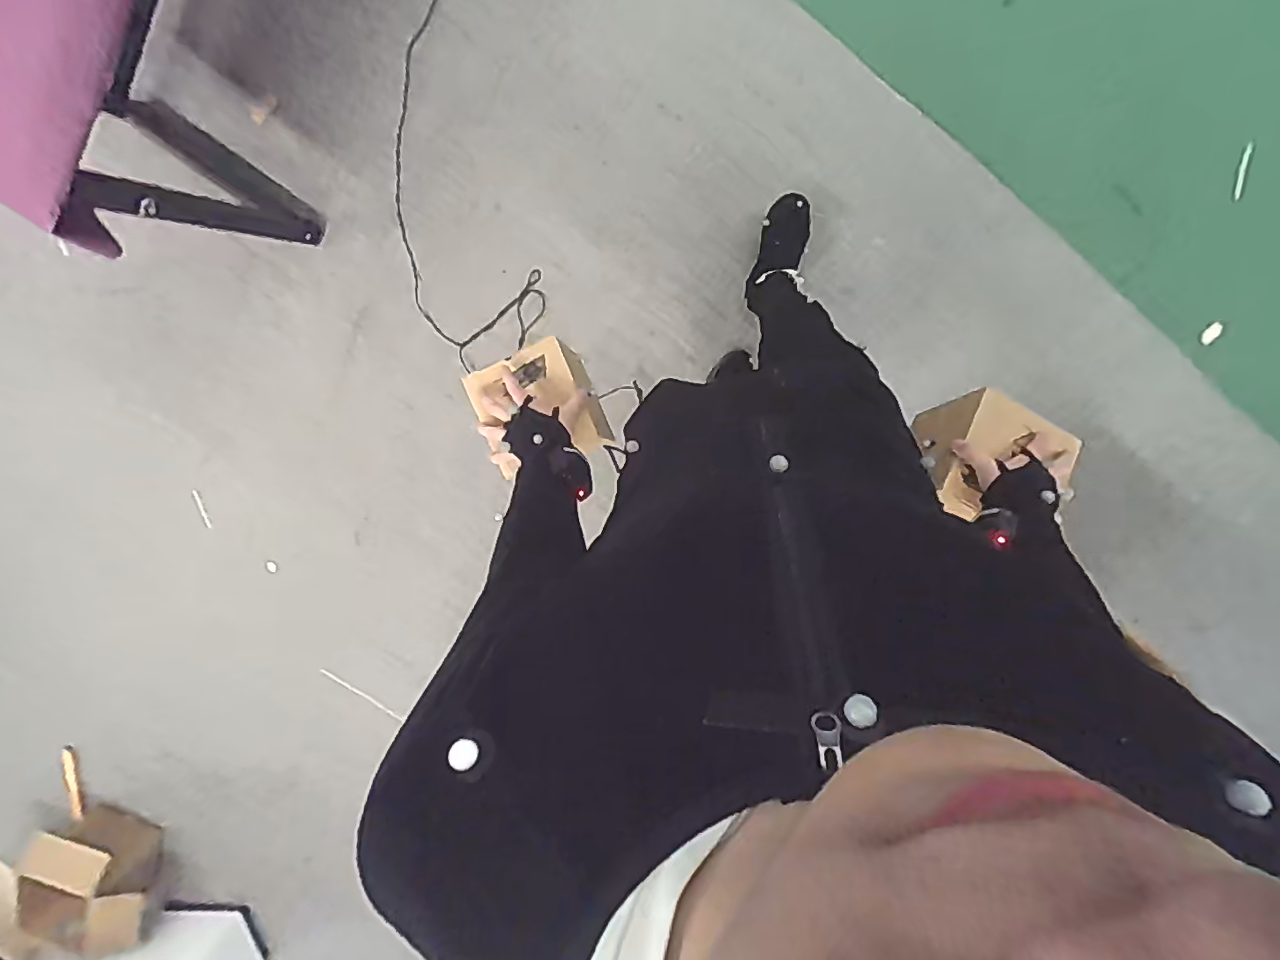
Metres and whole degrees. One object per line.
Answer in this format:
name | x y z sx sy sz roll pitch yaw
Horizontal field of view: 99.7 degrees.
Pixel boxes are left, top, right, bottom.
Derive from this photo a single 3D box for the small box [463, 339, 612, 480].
small box | -0.164 -0.108 0.917 0.168 0.176 0.179 -25 88 7
